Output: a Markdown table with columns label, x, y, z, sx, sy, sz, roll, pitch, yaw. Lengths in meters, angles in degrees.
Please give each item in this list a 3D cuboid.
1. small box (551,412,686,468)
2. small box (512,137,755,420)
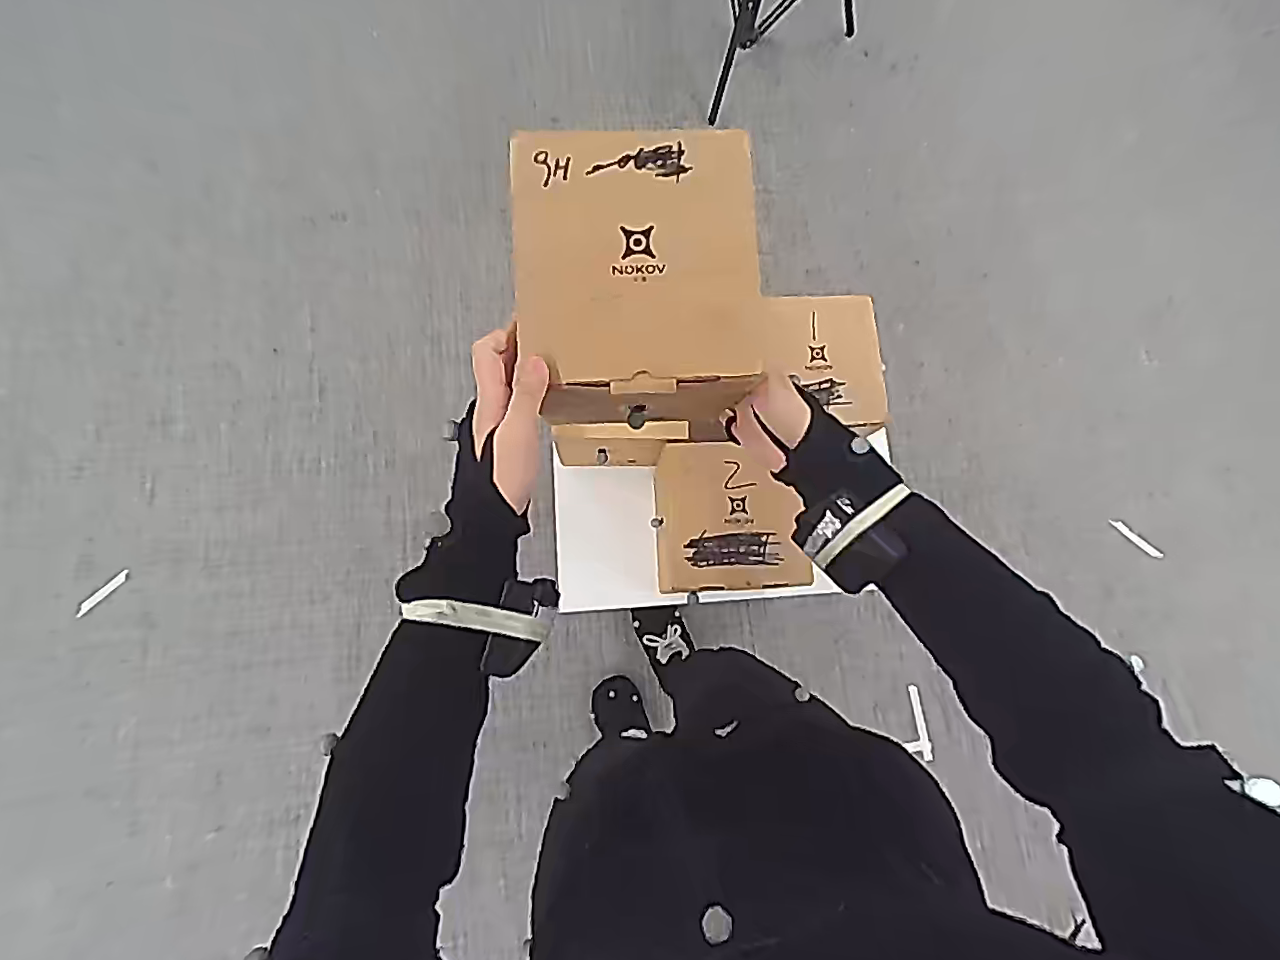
| label | x | y | z | sx | sy | sz | roll | pitch | yaw |
| --- | --- | --- | --- | --- | --- | --- | --- | --- | --- |
| small box | -0.029 | -0.116 | 0.738 | 0.168 | 0.176 | 0.179 | 0 | 79 | -4 |
| small box | -0.007 | -0.146 | 0.451 | 0.168 | 0.176 | 0.179 | -3 | 87 | -3 |
